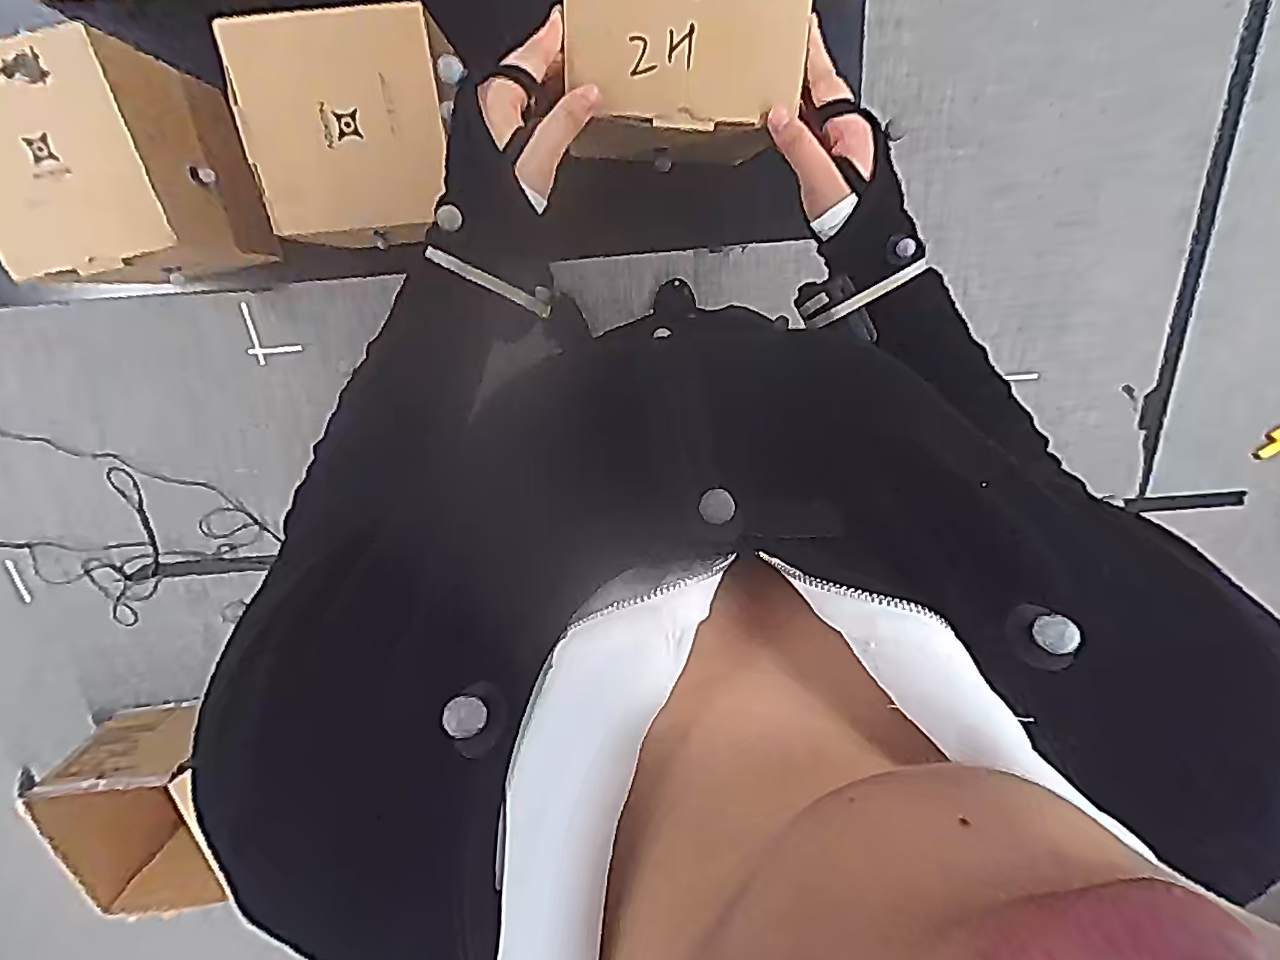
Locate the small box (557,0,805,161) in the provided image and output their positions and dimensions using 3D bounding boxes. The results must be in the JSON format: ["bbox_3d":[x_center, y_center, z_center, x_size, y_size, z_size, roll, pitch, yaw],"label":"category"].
[{"bbox_3d":[0.021,-0.365,0.416,0.168,0.176,0.179,0,112,-5],"label":"small box"}]

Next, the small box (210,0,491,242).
[{"bbox_3d":[-0.266,-0.341,0.546,0.179,0.176,0.168,-5,110,-1],"label":"small box"}]

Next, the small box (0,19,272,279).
[{"bbox_3d":[-0.521,-0.309,0.545,0.168,0.176,0.179,-11,110,1],"label":"small box"}]
